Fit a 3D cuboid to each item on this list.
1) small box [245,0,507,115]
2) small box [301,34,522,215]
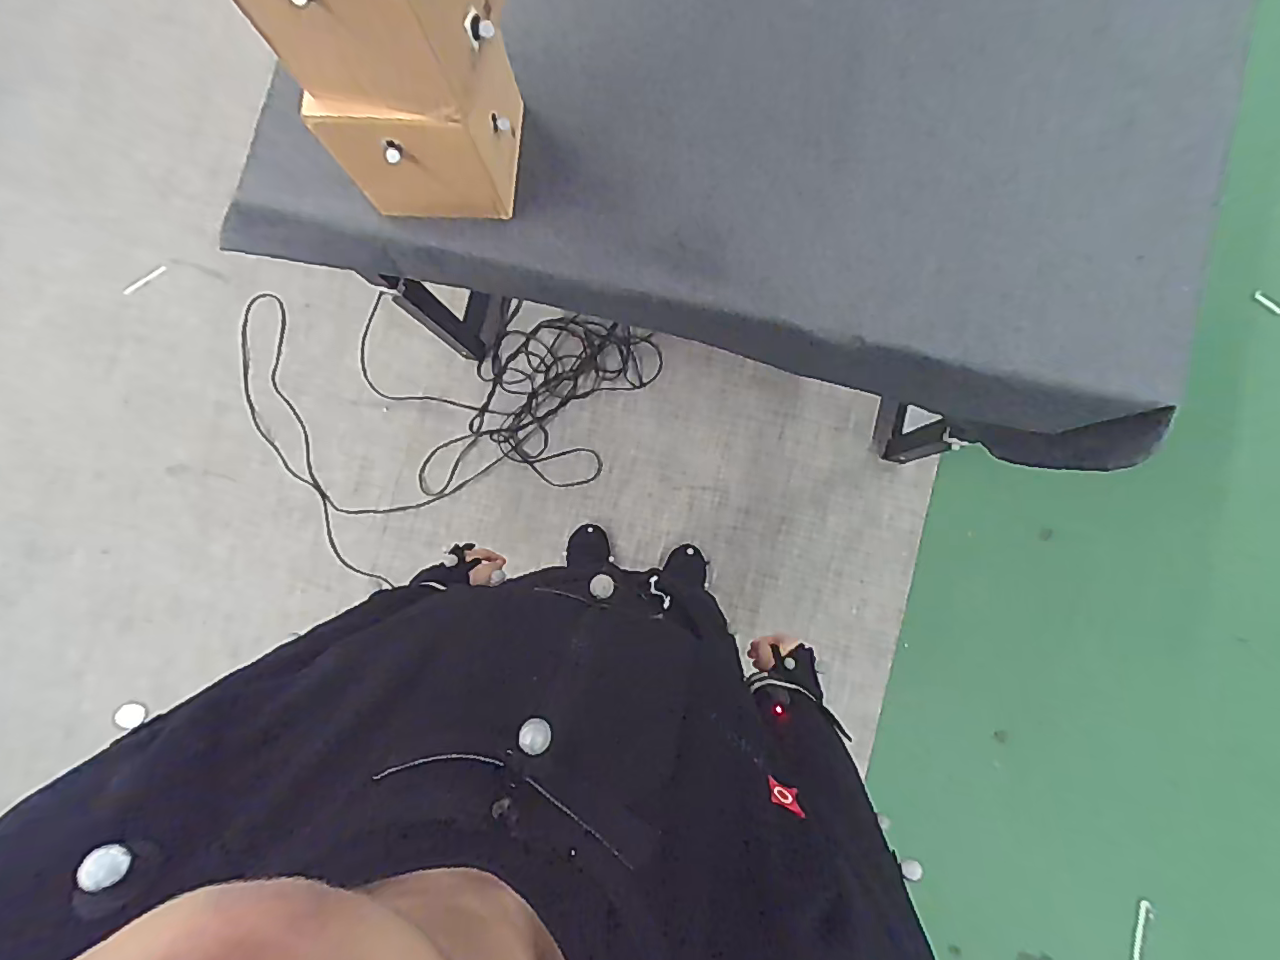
[{"bbox_3d":[-0.236,-0.457,0.464,0.179,0.176,0.168,13,86,3],"label":"small box"},{"bbox_3d":[-0.246,-0.430,0.625,0.179,0.176,0.168,4,84,4],"label":"small box"}]
